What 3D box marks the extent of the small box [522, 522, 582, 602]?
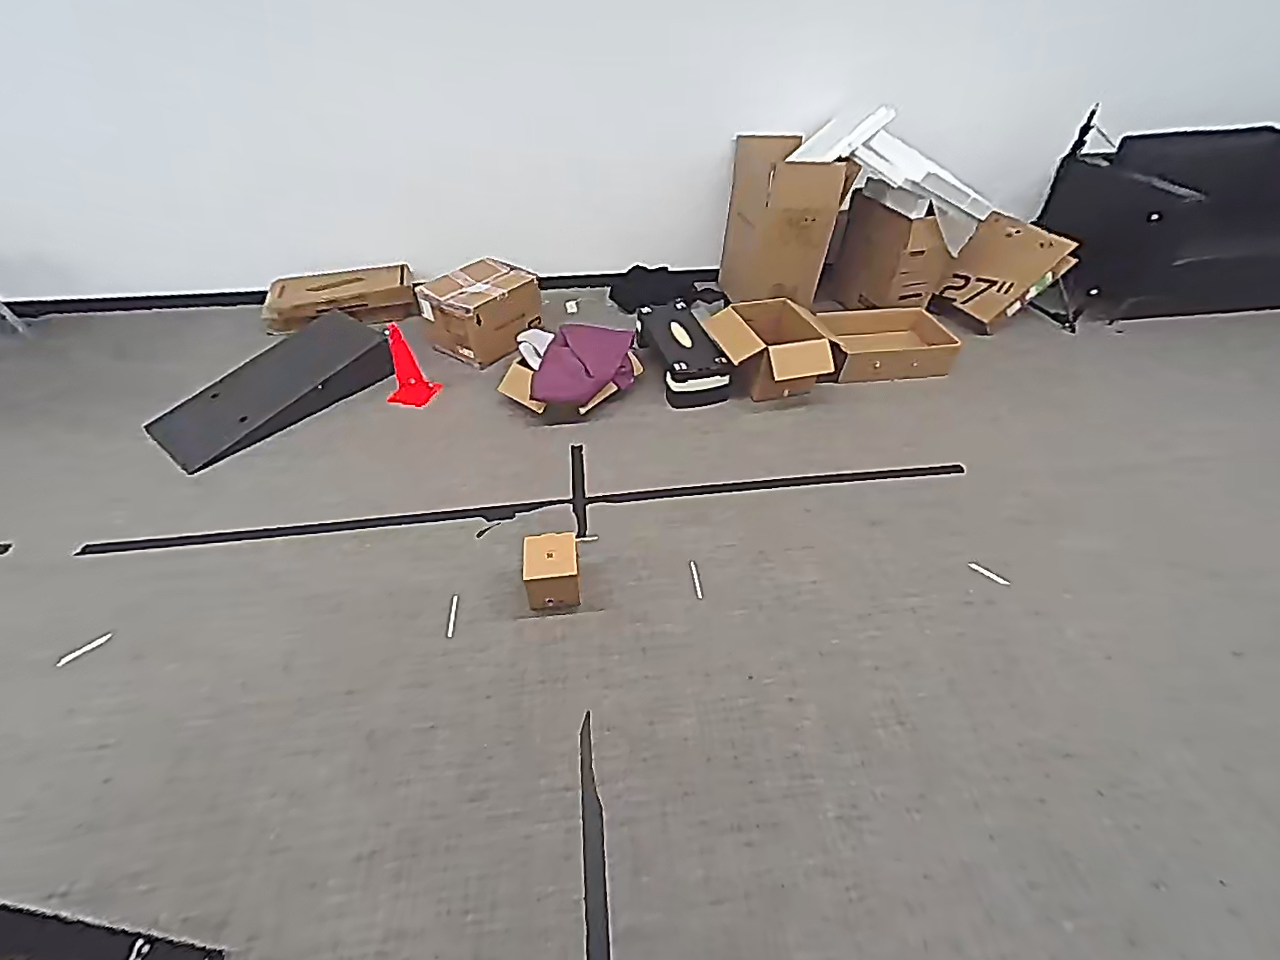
[{"bbox_3d":[-0.272,0.254,1.676,0.168,0.176,0.179,-6,46,-6],"label":"small box"}]
